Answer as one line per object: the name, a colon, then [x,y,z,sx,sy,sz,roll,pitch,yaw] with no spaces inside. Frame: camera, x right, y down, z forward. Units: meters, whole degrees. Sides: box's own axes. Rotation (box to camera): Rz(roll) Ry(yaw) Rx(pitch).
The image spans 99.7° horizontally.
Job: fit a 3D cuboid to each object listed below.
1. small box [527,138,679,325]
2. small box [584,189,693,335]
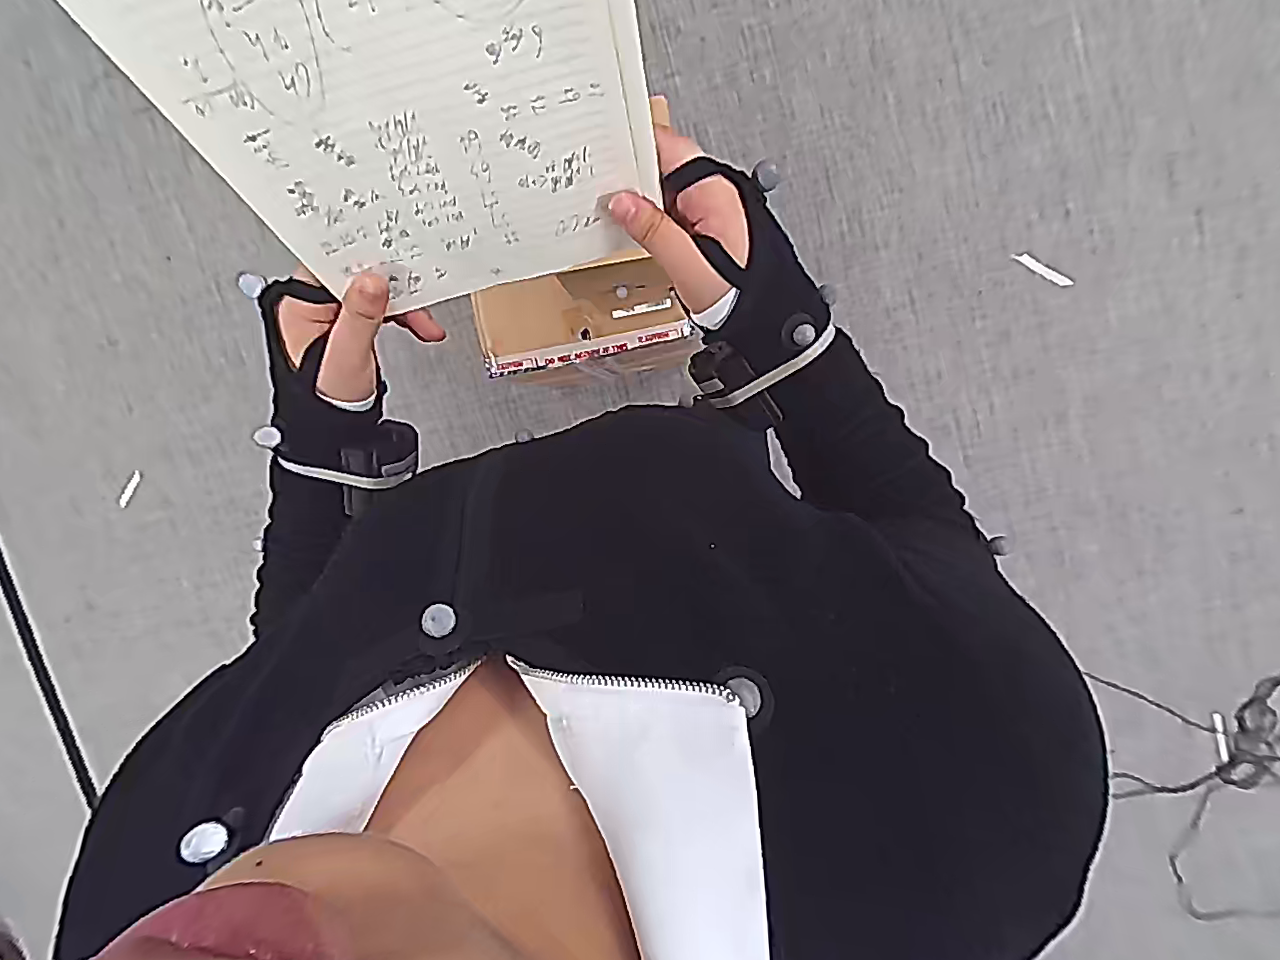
small box: [-0.043,-0.320,0.730,0.168,0.176,0.179,-8,98,3]
small box: [-0.018,-0.347,0.892,0.179,0.176,0.168,-12,97,4]
